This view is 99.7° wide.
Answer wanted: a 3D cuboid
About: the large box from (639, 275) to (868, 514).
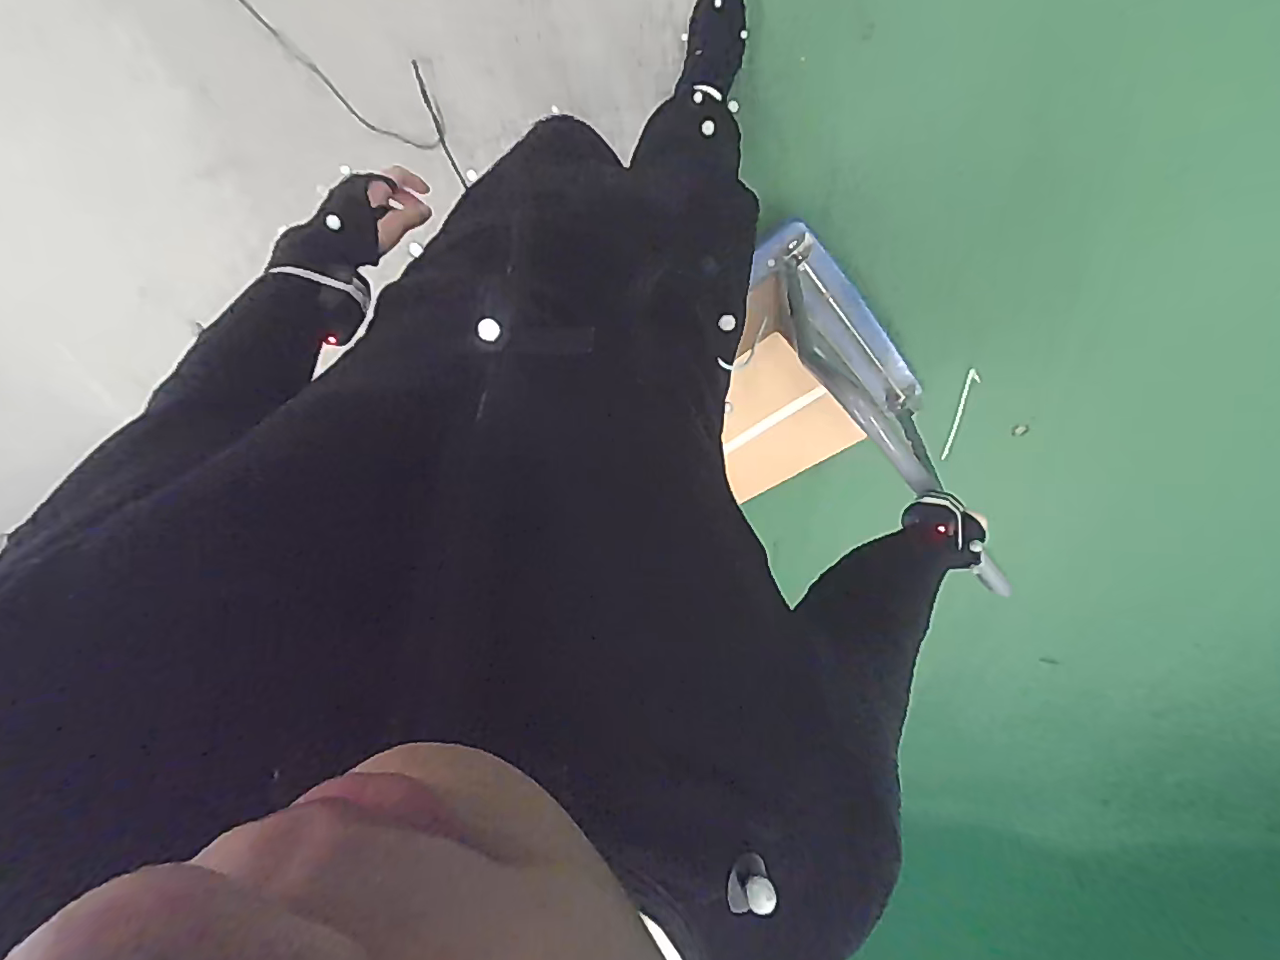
[{"bbox_3d":[0.262,-0.193,1.281,0.320,0.320,0.408,42,128,-21],"label":"large box"}]
